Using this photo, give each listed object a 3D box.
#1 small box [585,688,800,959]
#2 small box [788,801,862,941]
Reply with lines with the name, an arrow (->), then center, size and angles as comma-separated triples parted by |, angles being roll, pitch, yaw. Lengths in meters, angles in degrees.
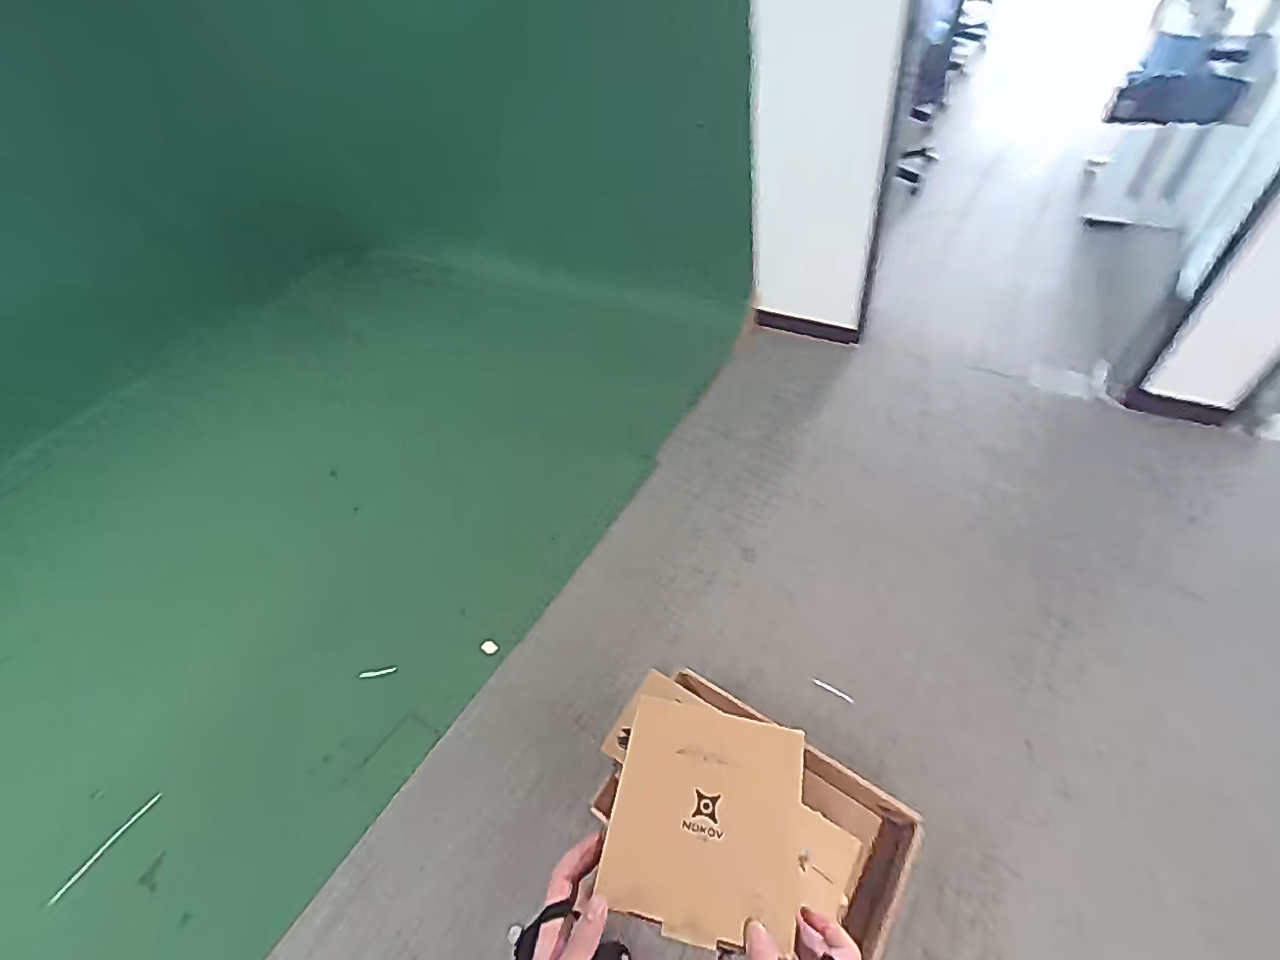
small box -> 0.056, 0.337, 0.536 | 0.168, 0.176, 0.179 | 9, 51, 10
small box -> 0.290, 0.719, 1.014 | 0.179, 0.176, 0.168 | 23, 60, 27
